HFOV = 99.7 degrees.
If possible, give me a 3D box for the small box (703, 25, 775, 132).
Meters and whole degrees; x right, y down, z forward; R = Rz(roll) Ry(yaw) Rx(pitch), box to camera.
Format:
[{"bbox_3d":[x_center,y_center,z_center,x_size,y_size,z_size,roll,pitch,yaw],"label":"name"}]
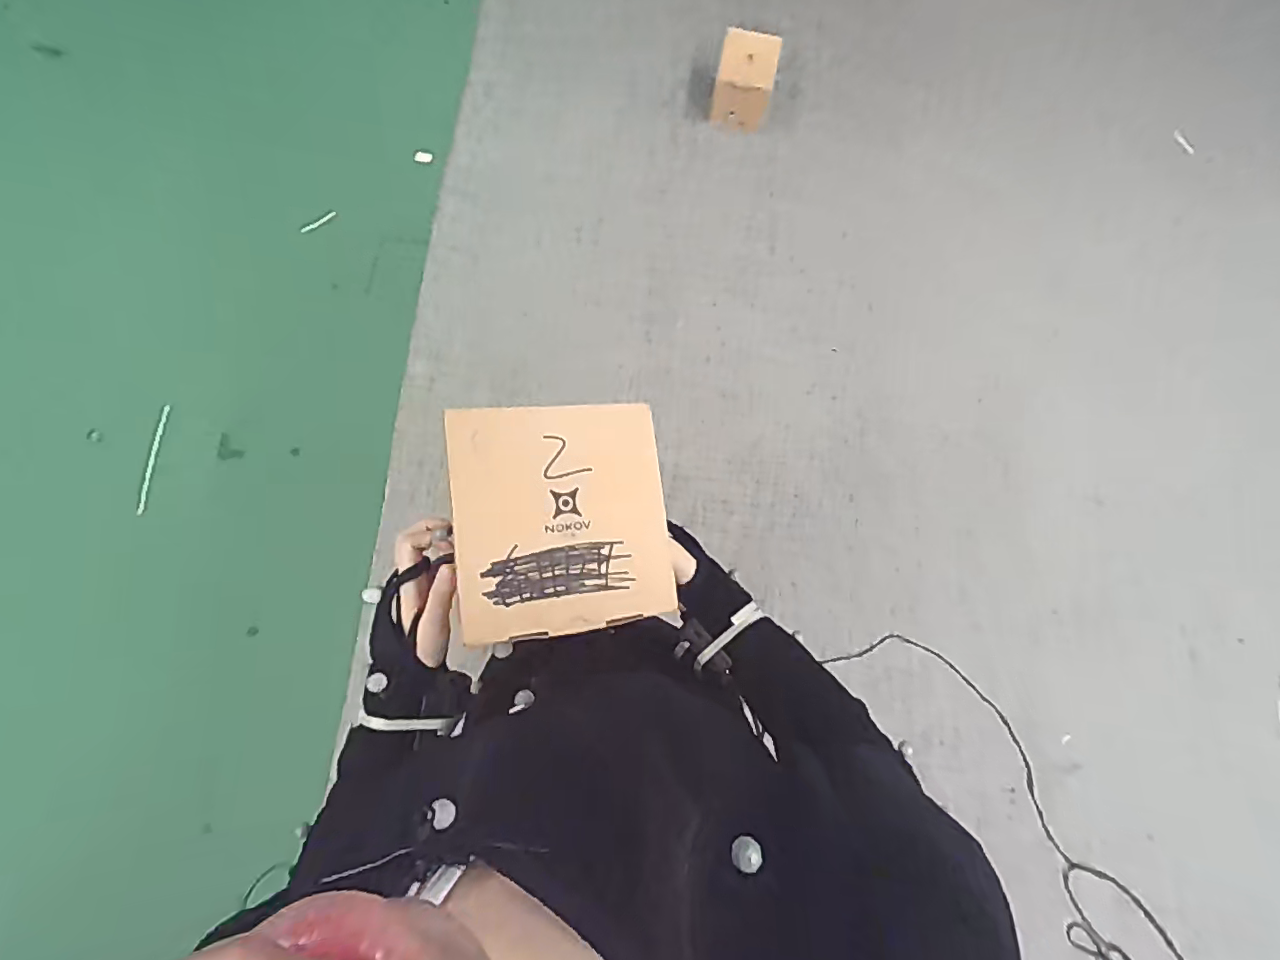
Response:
[{"bbox_3d":[0.291,-1.204,1.631,0.168,0.176,0.179,12,82,0],"label":"small box"}]
